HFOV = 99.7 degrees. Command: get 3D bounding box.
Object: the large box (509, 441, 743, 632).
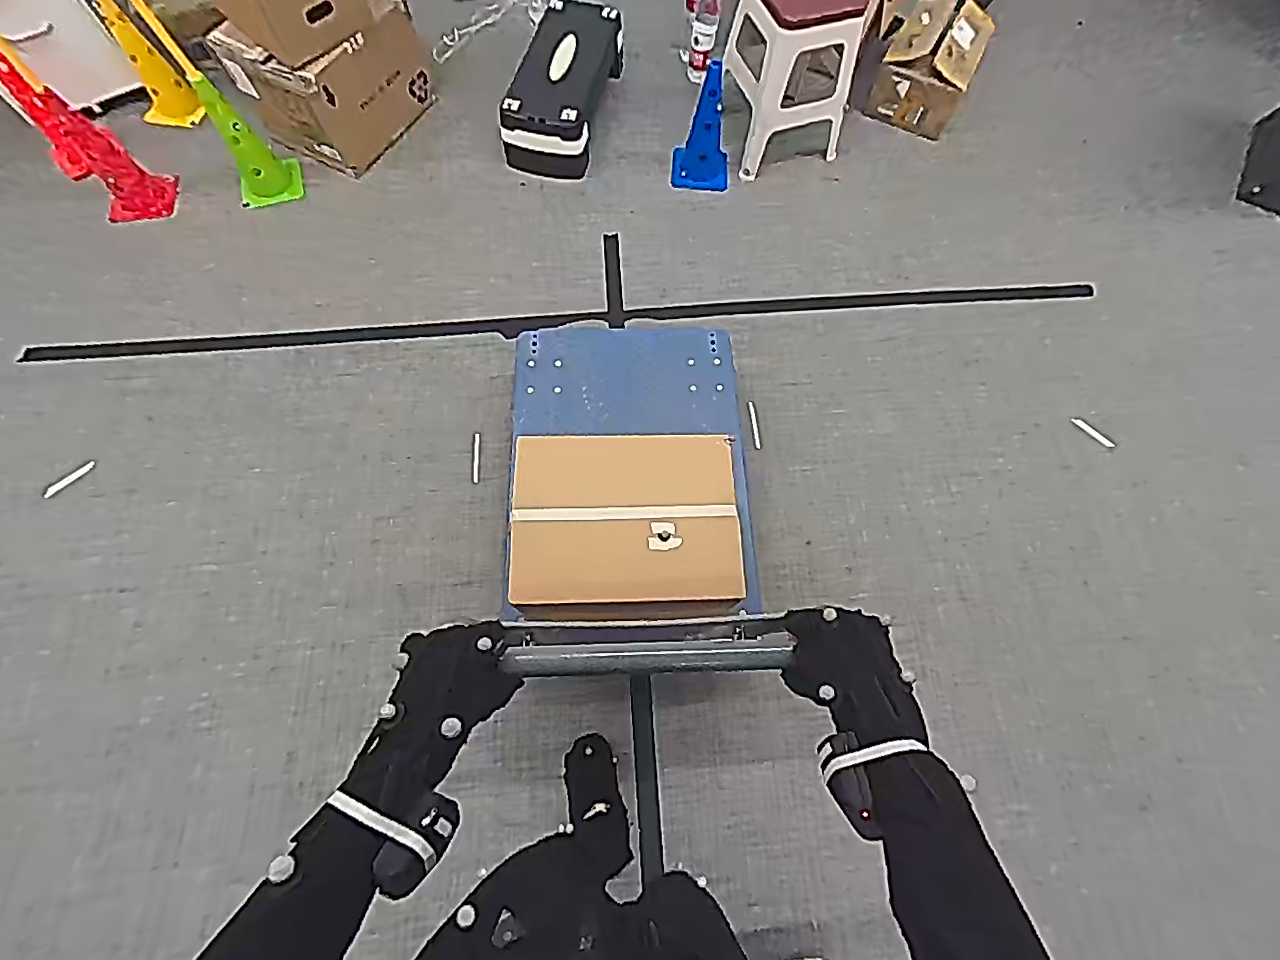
[{"bbox_3d":[-0.037,0.127,1.098,0.408,0.320,0.320,0,69,-4],"label":"large box"}]
